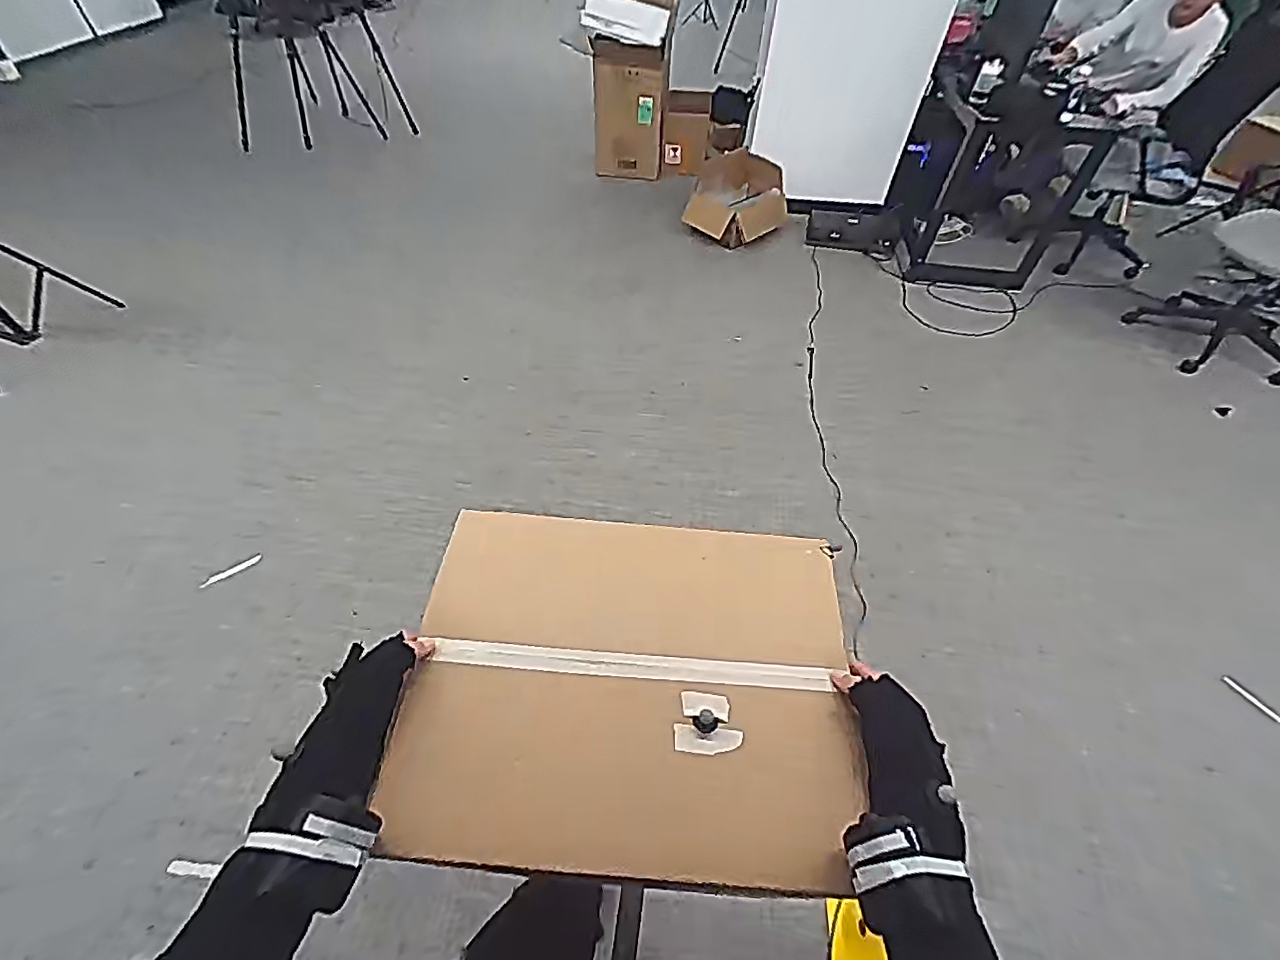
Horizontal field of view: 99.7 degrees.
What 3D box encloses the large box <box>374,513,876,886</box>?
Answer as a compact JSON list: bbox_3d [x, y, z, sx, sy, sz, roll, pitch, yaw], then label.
[{"bbox_3d":[-0.012,0.263,0.627,0.408,0.320,0.320,5,53,0],"label":"large box"}]
